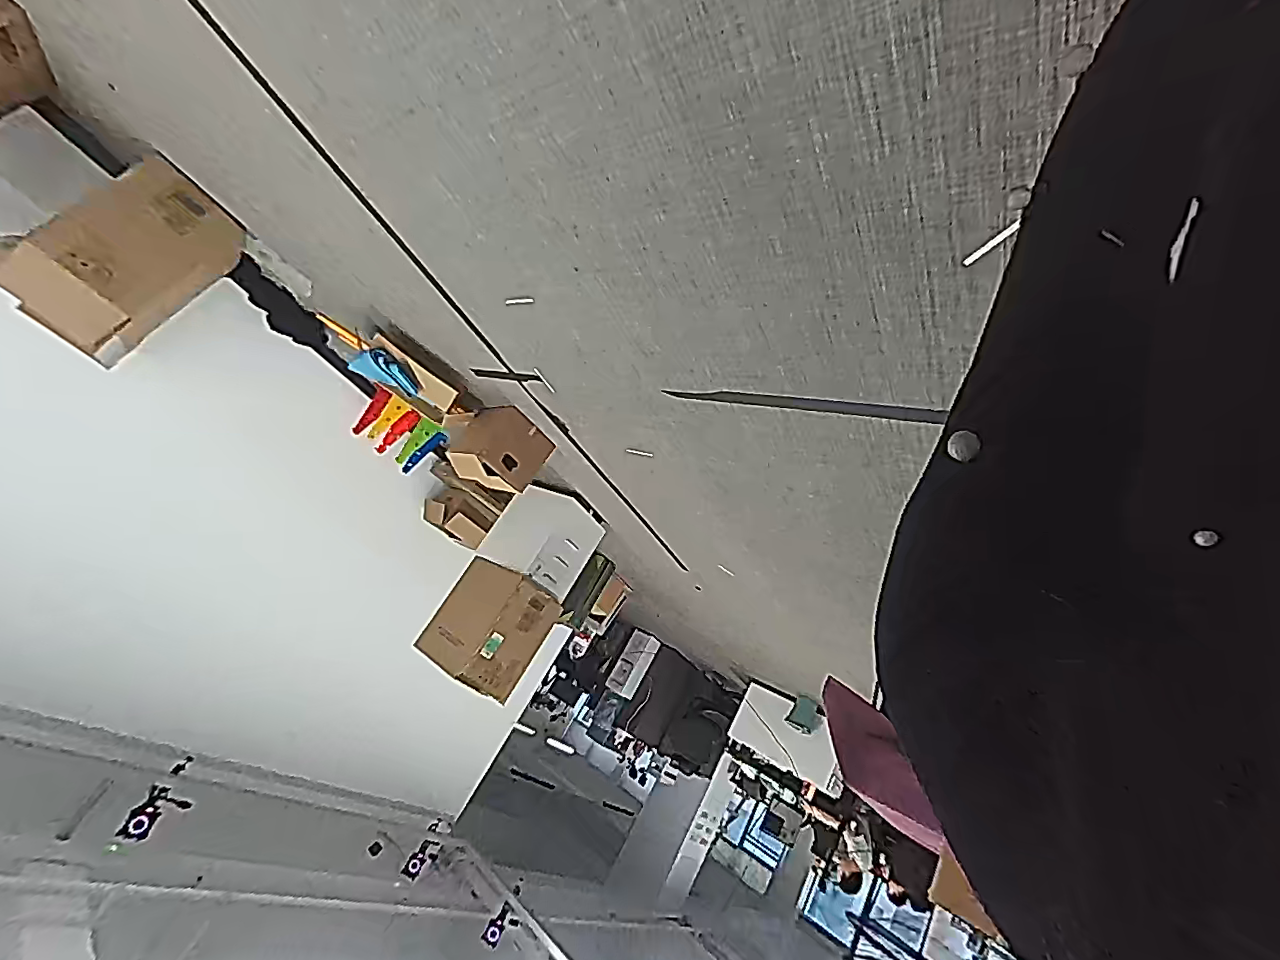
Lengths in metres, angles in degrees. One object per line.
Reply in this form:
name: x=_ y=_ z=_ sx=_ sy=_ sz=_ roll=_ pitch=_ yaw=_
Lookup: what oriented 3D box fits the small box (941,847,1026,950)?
small box: x=0.995 y=1.199 z=1.557 sx=0.179 sy=0.176 sz=0.168 roll=10 pitch=150 yaw=44
